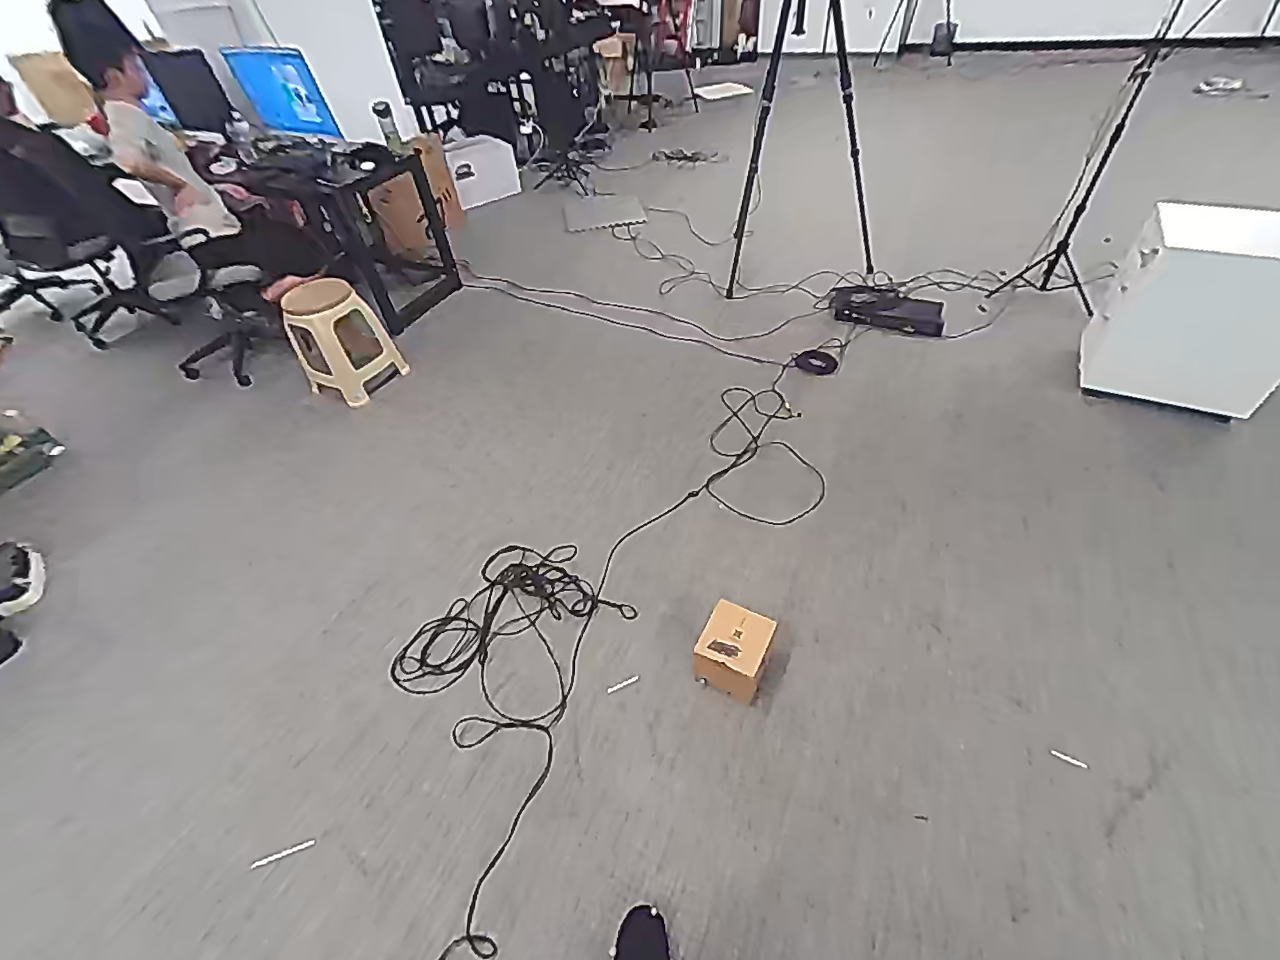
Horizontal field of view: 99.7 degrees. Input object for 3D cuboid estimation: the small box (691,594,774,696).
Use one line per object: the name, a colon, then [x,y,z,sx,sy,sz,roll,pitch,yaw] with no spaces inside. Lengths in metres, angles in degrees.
small box: [0.251,0.450,1.465,0.168,0.176,0.179,20,51,23]
